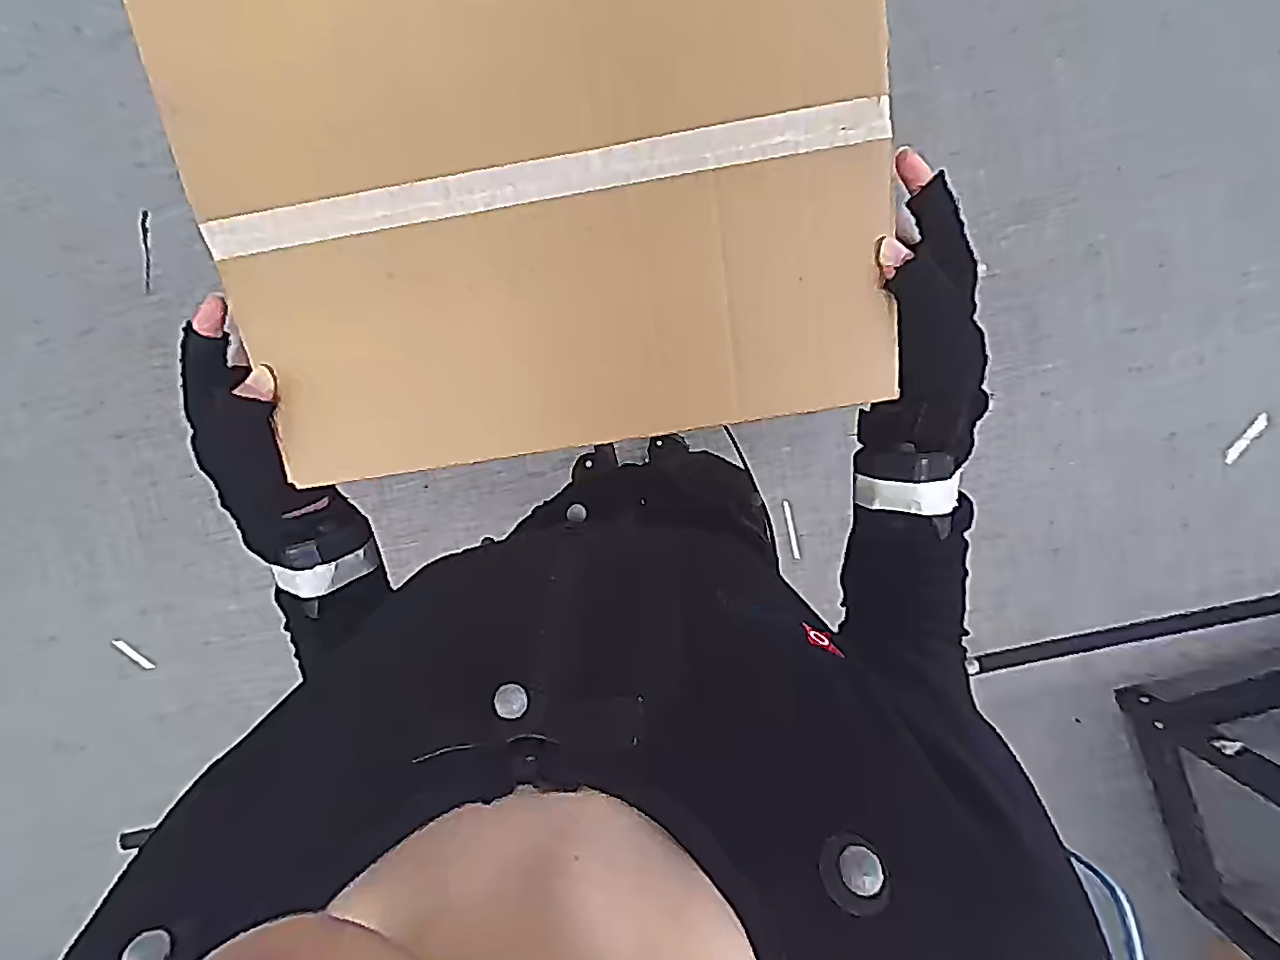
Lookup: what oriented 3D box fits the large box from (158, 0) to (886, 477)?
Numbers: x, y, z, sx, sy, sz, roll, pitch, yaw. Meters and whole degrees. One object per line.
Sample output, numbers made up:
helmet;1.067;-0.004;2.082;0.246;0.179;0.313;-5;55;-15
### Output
large box;-0.057;-0.214;0.473;0.408;0.320;0.320;-9;105;3
